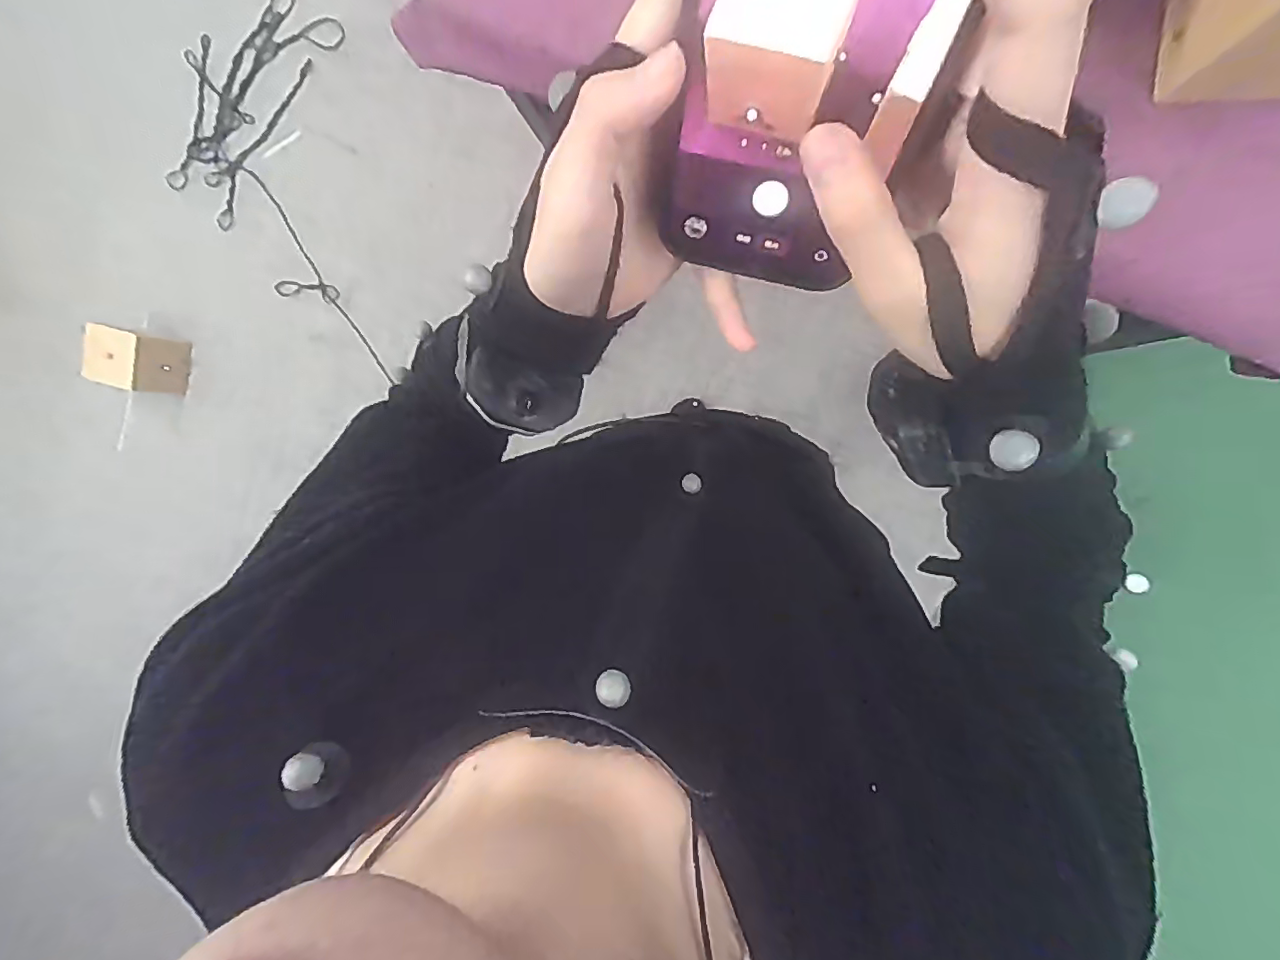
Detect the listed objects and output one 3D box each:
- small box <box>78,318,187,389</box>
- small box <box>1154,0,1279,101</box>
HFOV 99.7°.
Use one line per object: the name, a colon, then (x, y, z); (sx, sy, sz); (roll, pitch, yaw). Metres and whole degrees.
small box: (-1.520, -0.373, 1.628); (0.179, 0.176, 0.168); (16, 99, 7)
small box: (0.670, -0.506, 0.531); (0.179, 0.176, 0.168); (4, 96, 9)
